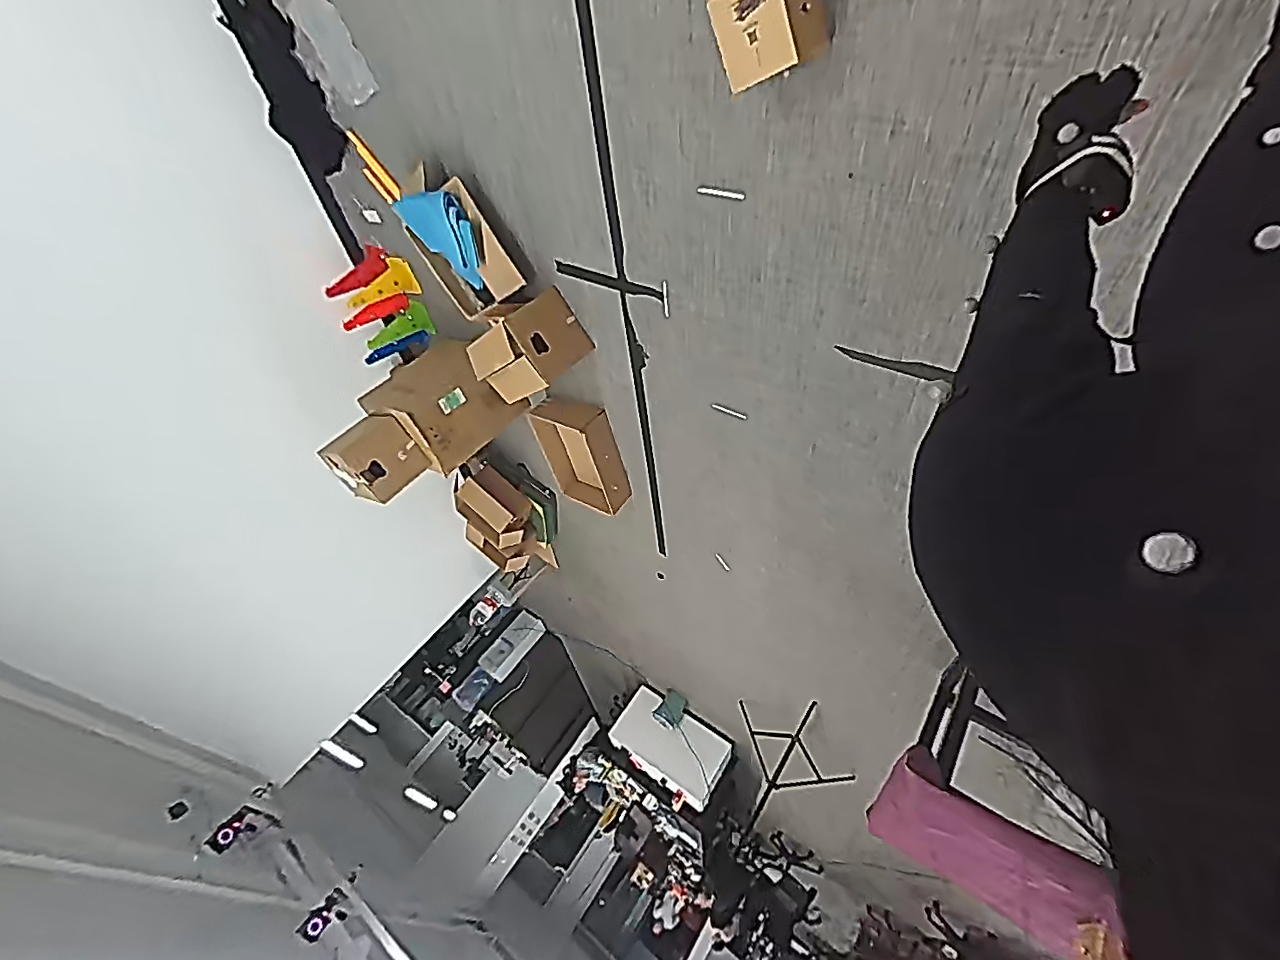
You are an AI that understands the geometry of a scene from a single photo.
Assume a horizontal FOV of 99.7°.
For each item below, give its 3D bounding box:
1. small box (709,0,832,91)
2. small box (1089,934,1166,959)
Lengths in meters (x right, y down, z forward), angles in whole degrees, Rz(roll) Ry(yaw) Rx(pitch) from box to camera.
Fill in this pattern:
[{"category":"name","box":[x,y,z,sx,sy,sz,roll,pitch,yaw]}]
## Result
[{"category":"small box","box":[0.279,-0.970,1.138,0.168,0.176,0.179,8,136,46]},{"category":"small box","box":[1.310,1.334,1.416,0.179,0.176,0.168,25,147,29]}]
